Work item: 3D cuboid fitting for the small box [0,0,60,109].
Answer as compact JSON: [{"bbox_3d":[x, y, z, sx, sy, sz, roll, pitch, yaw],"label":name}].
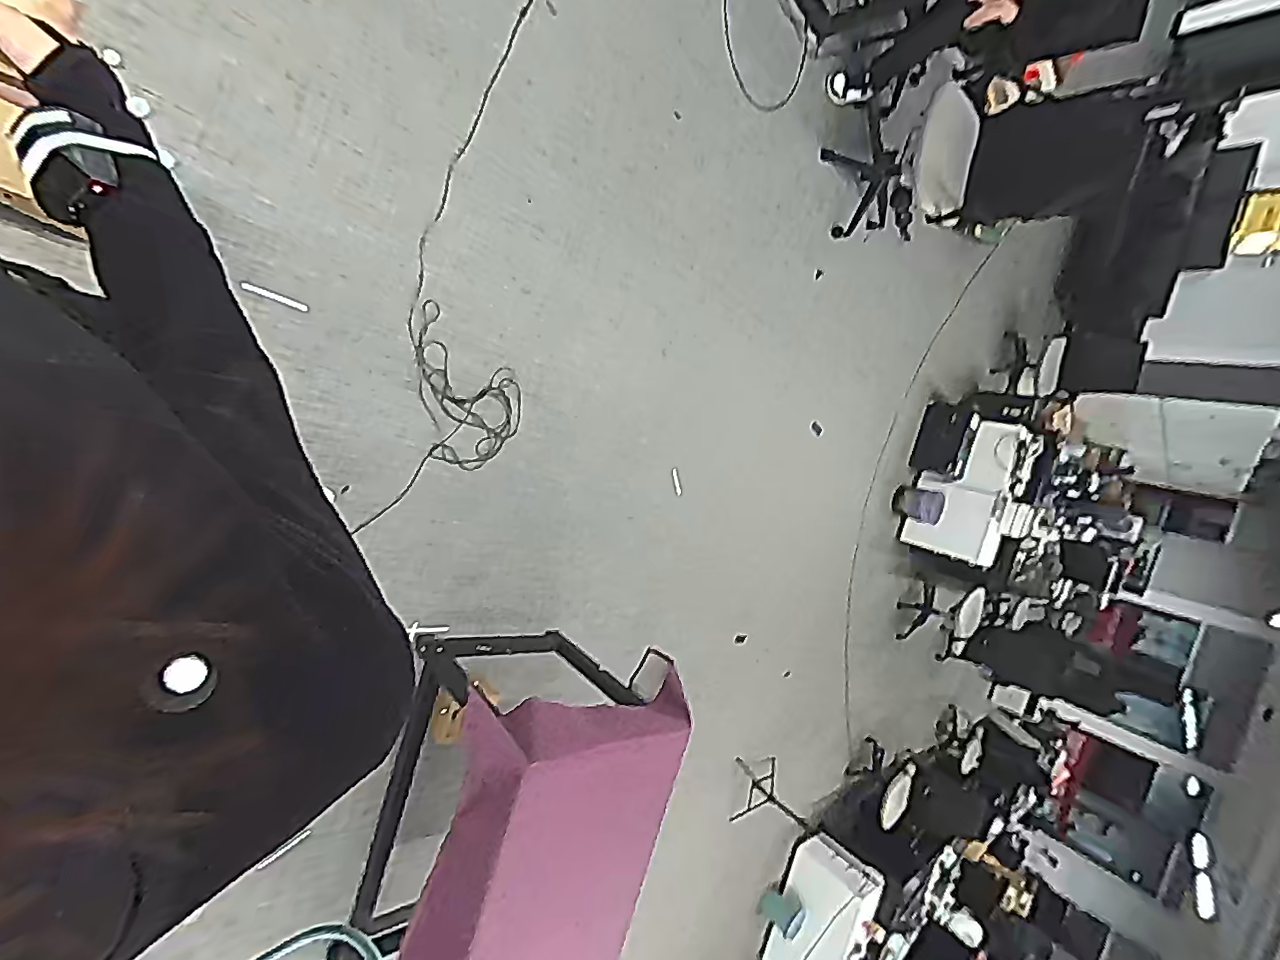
[{"bbox_3d":[-0.586,-0.438,0.431,0.168,0.176,0.179,8,103,-50],"label":"small box"}]
